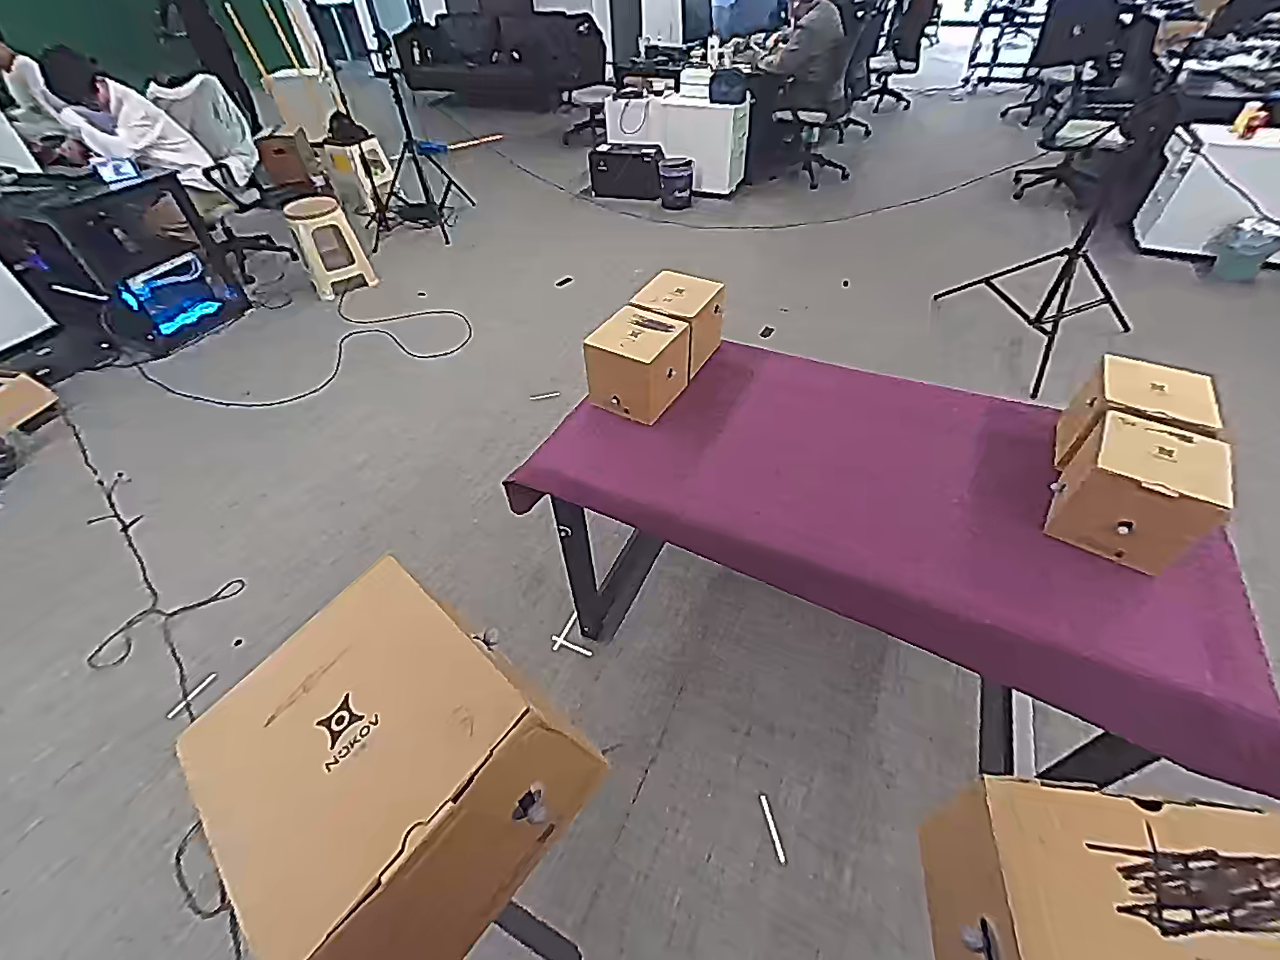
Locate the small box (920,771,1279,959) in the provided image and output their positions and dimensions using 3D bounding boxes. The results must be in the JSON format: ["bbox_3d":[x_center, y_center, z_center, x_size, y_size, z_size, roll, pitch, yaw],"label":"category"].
[{"bbox_3d":[0.277,0.291,0.309,0.168,0.176,0.179,1,51,12],"label":"small box"}]

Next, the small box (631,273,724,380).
[{"bbox_3d":[0.090,-0.374,1.319,0.168,0.176,0.179,22,51,22],"label":"small box"}]

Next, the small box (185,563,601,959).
[{"bbox_3d":[-0.153,0.197,0.382,0.179,0.176,0.168,29,64,33],"label":"small box"}]

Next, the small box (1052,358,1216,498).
[{"bbox_3d":[0.913,-0.099,1.018,0.168,0.176,0.179,22,50,21],"label":"small box"}]
